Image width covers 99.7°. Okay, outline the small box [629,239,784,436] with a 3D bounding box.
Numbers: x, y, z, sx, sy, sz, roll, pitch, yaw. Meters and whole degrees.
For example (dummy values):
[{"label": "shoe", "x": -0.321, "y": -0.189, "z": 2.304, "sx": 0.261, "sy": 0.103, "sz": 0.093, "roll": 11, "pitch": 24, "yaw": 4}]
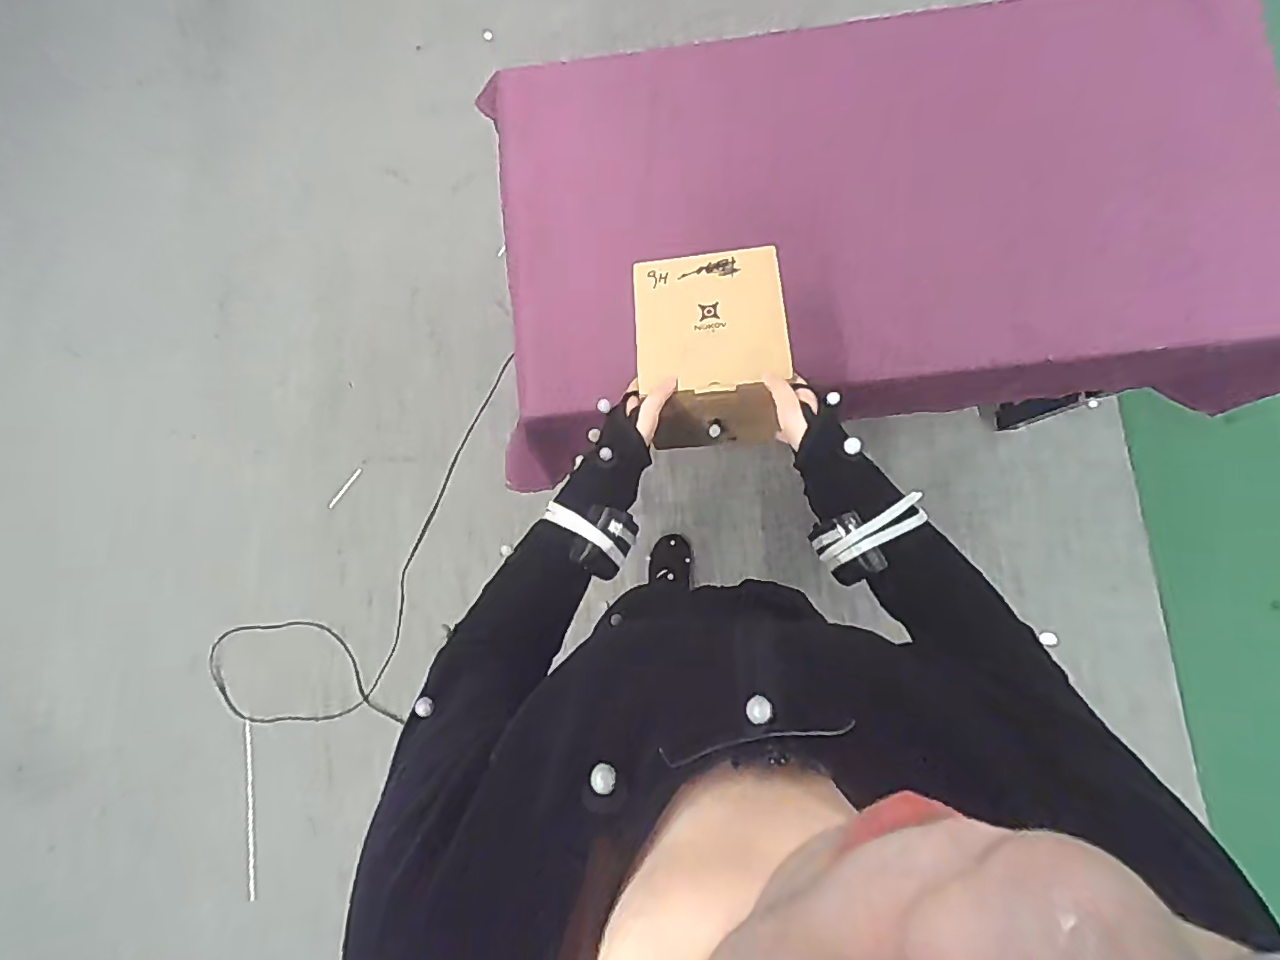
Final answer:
[{"label": "small box", "x": 0.082, "y": -0.162, "z": 0.674, "sx": 0.168, "sy": 0.176, "sz": 0.179, "roll": -5, "pitch": 73, "yaw": 7}]
